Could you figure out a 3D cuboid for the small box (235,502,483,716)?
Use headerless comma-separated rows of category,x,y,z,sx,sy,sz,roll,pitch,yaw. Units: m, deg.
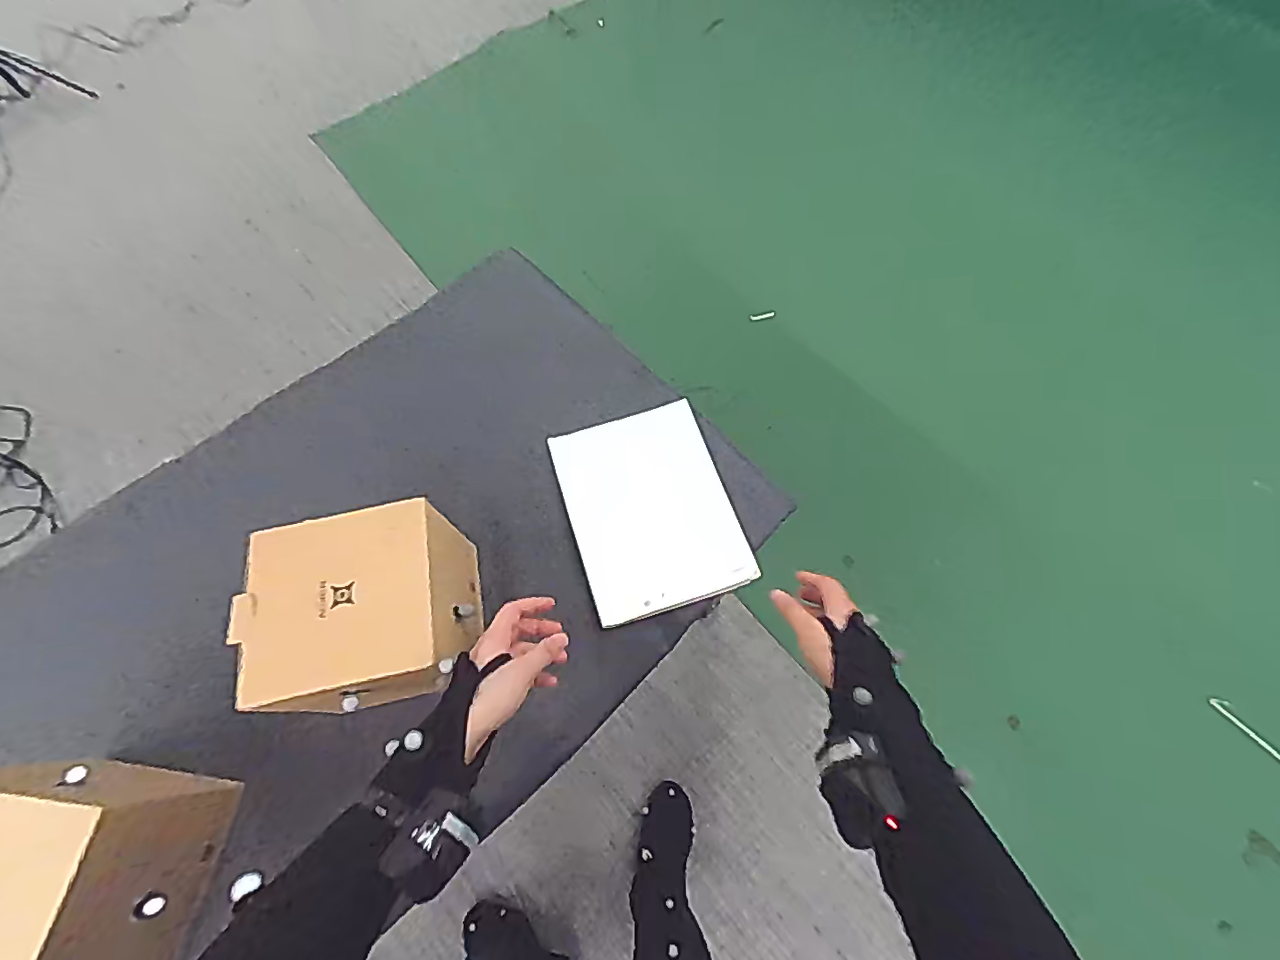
small box,-0.274,0.141,0.569,0.179,0.176,0.168,-13,67,-2

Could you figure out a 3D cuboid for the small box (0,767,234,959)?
small box,-0.523,0.364,0.483,0.179,0.176,0.168,6,67,5
